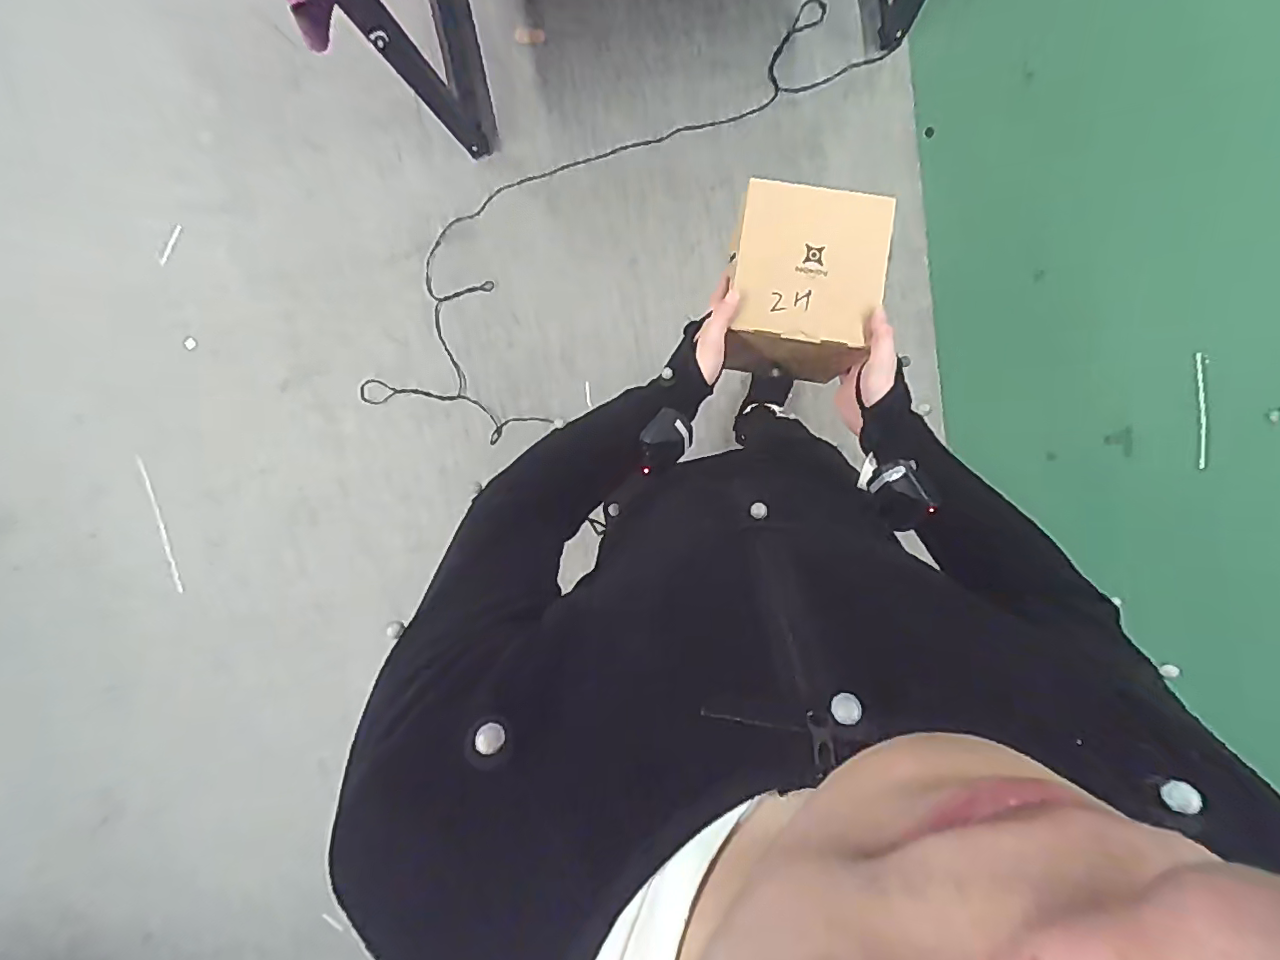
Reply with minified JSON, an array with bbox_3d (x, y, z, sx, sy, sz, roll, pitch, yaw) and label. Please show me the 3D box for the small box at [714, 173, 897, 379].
[{"bbox_3d":[0.190,-0.239,0.670,0.168,0.176,0.179,9,89,3],"label":"small box"}]
